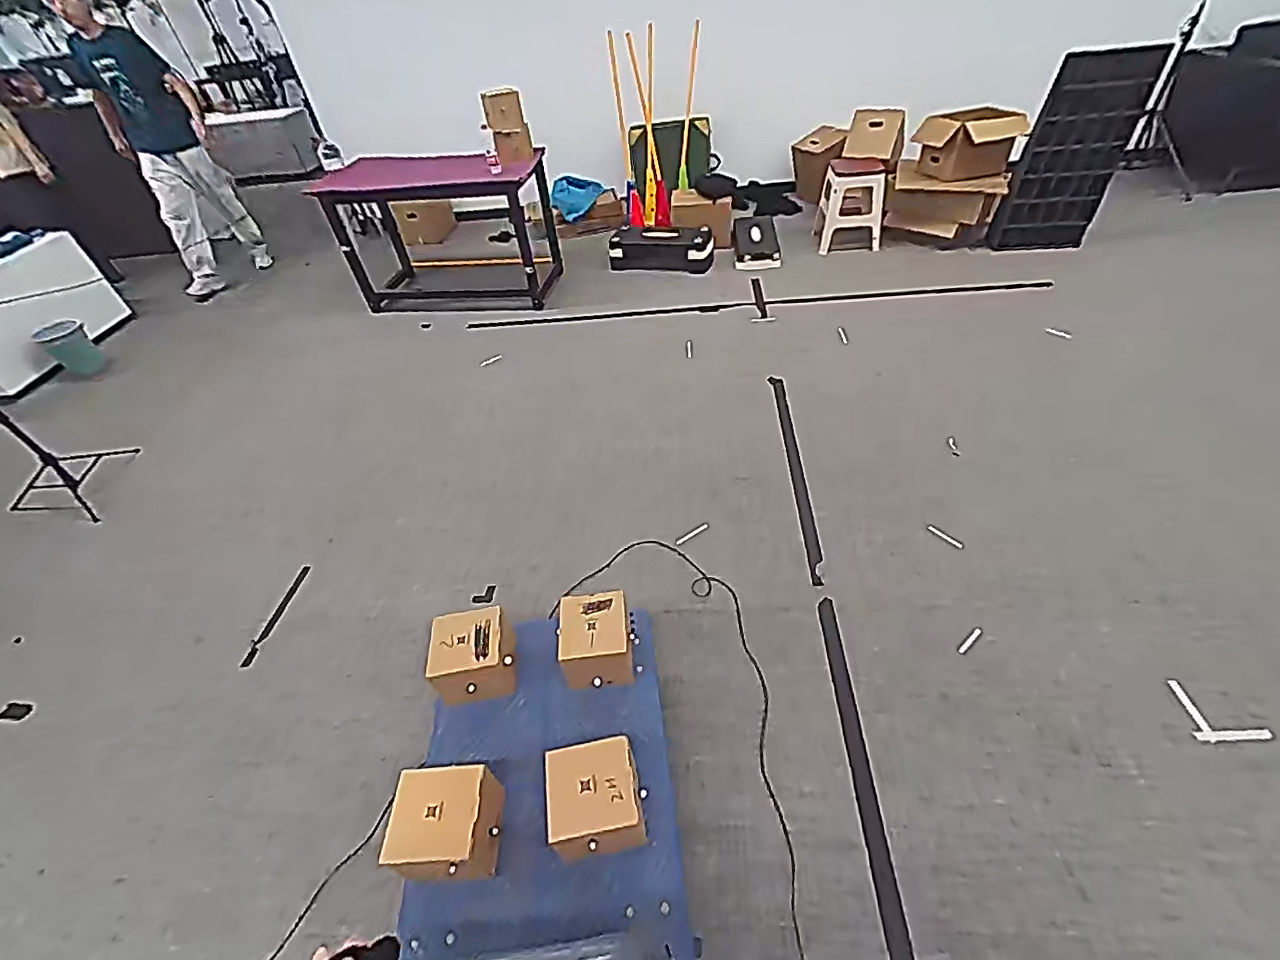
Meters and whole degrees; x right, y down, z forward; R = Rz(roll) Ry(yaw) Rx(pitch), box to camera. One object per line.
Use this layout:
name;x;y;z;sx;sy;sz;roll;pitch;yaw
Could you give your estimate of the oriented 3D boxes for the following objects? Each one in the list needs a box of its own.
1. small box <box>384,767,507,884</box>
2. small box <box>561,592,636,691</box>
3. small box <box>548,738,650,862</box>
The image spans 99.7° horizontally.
small box;-0.389;0.714;1.115;0.179;0.176;0.168;-5;44;1
small box;-0.103;0.414;1.383;0.168;0.176;0.179;-7;45;1
small box;-0.084;0.665;1.120;0.179;0.176;0.168;-11;44;-3
